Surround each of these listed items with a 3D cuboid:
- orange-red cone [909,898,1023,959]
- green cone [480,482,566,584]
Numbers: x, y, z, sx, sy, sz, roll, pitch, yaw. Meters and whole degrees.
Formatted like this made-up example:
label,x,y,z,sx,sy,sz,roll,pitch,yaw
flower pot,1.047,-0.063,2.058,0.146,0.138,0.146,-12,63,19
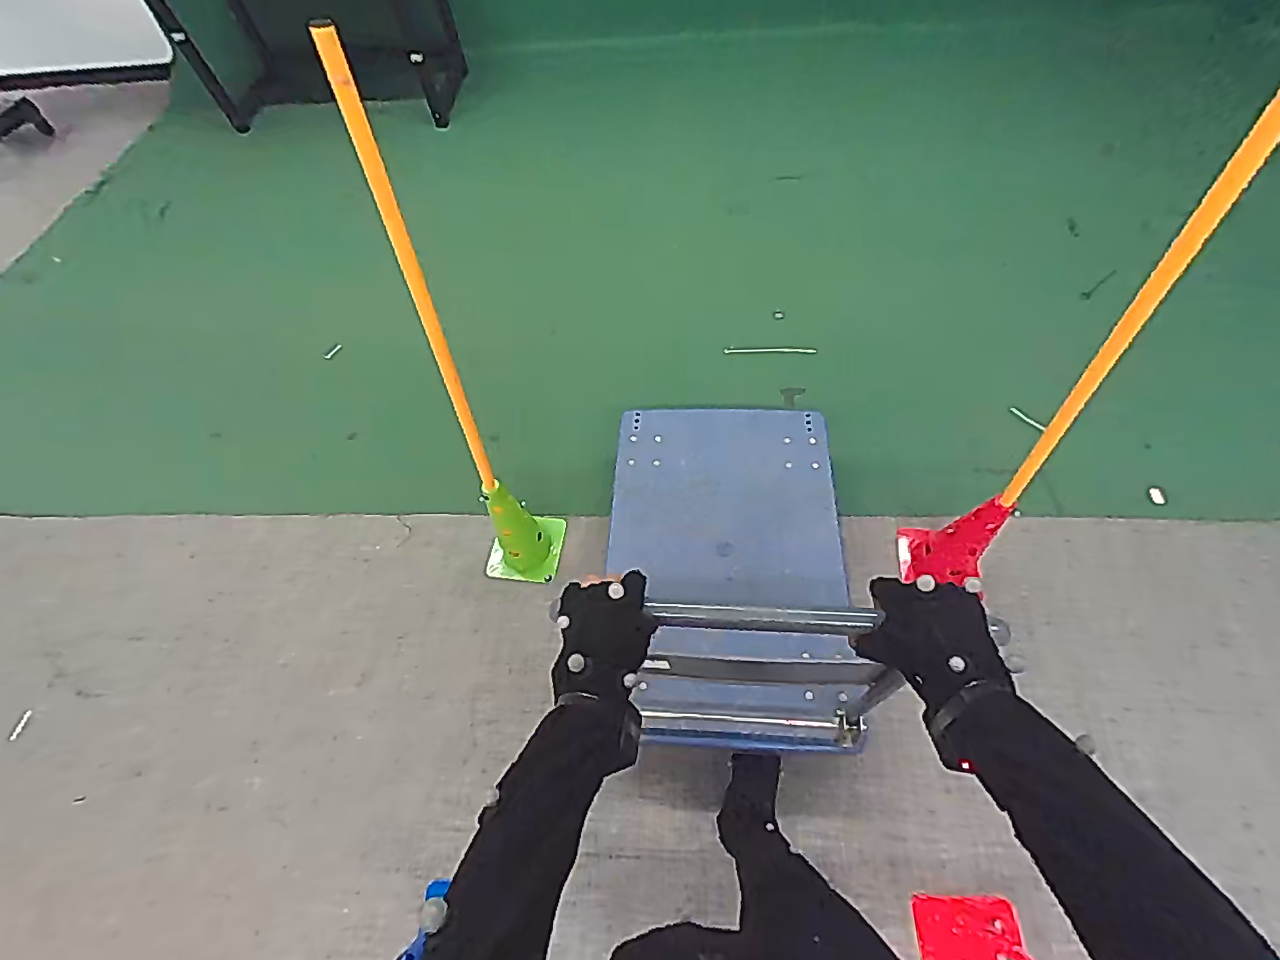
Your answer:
label,x,y,z,sx,sy,sz,roll,pitch,yaw
orange-red cone,0.625,0.849,0.904,0.199,0.360,0.198,-1,58,6
green cone,-0.338,0.111,1.424,0.202,0.368,0.200,4,58,8
